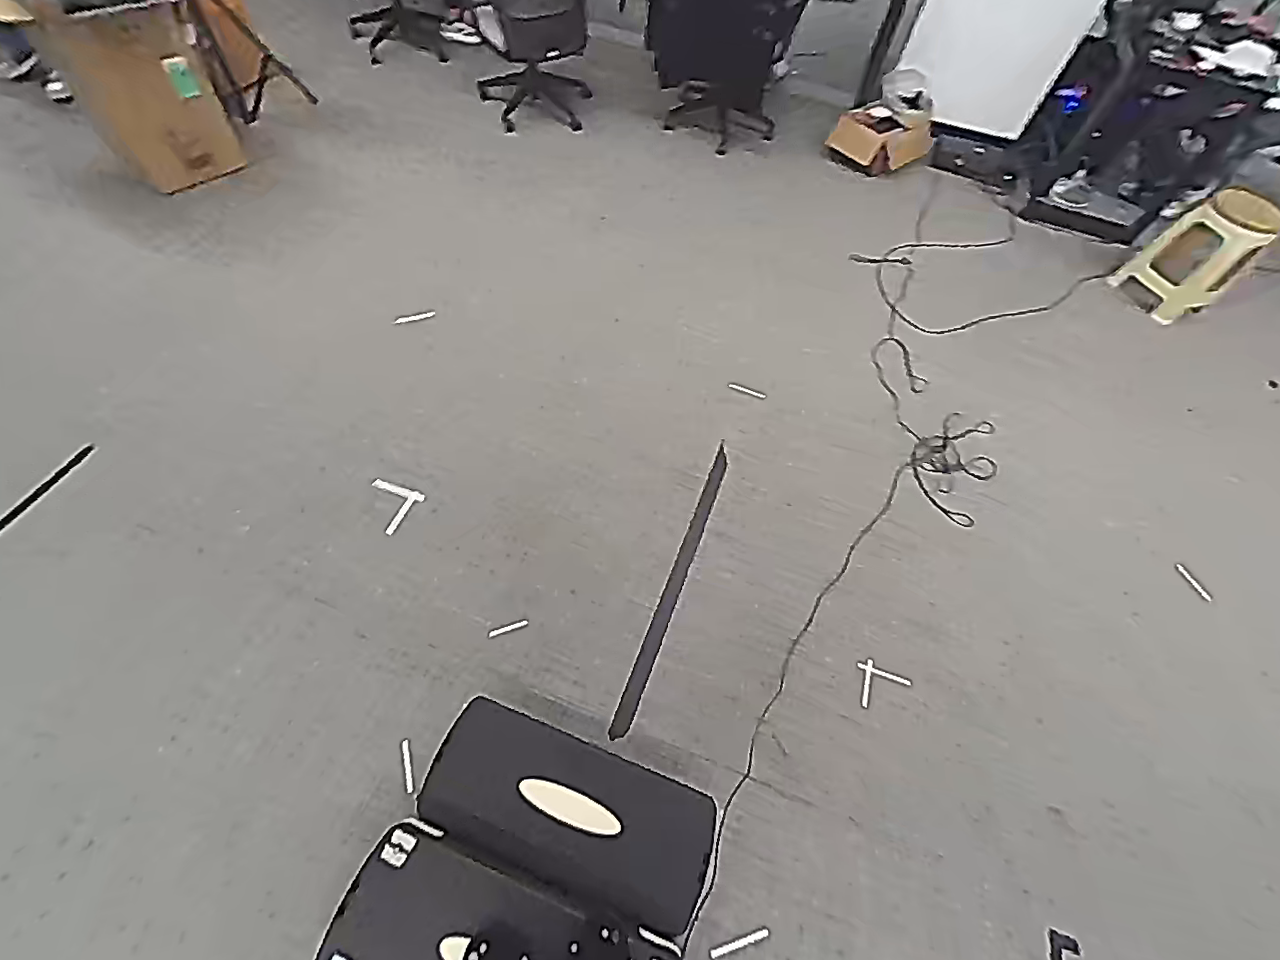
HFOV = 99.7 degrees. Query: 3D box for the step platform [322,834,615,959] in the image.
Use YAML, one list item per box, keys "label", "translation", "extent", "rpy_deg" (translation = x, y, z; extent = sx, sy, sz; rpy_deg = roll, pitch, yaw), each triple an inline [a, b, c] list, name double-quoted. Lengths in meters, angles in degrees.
- label: "step platform"
  translation: [-0.260, 0.991, 1.040]
  extent: [0.684, 0.204, 0.286]
  rpy_deg: [23, 57, 11]
